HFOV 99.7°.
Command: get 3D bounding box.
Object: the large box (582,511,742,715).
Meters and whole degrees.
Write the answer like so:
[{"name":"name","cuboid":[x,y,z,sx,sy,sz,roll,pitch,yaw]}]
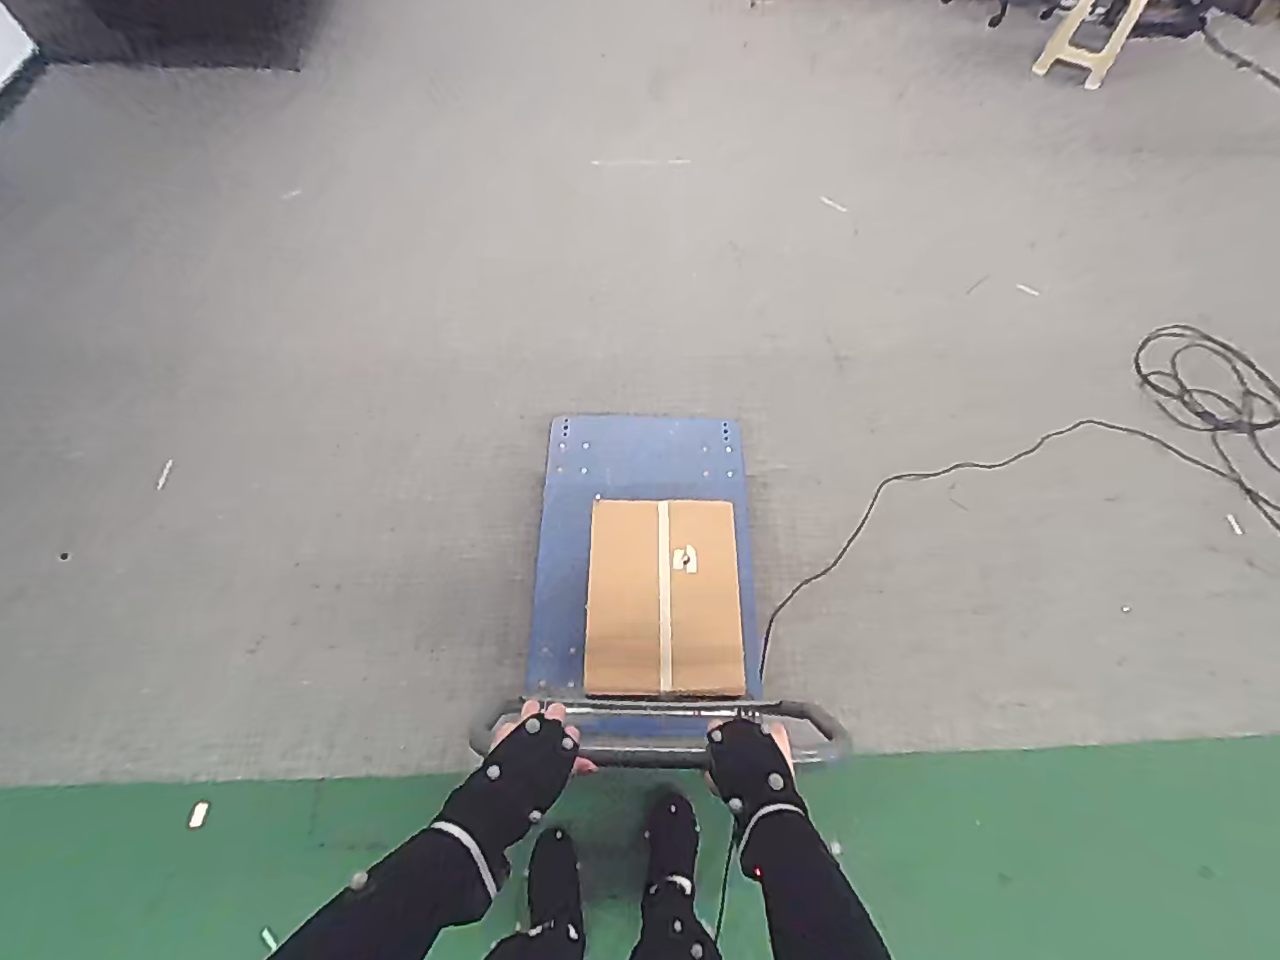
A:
[{"name":"large box","cuboid":[0.038,0.317,1.252,0.320,0.320,0.408,1,63,-2]}]
